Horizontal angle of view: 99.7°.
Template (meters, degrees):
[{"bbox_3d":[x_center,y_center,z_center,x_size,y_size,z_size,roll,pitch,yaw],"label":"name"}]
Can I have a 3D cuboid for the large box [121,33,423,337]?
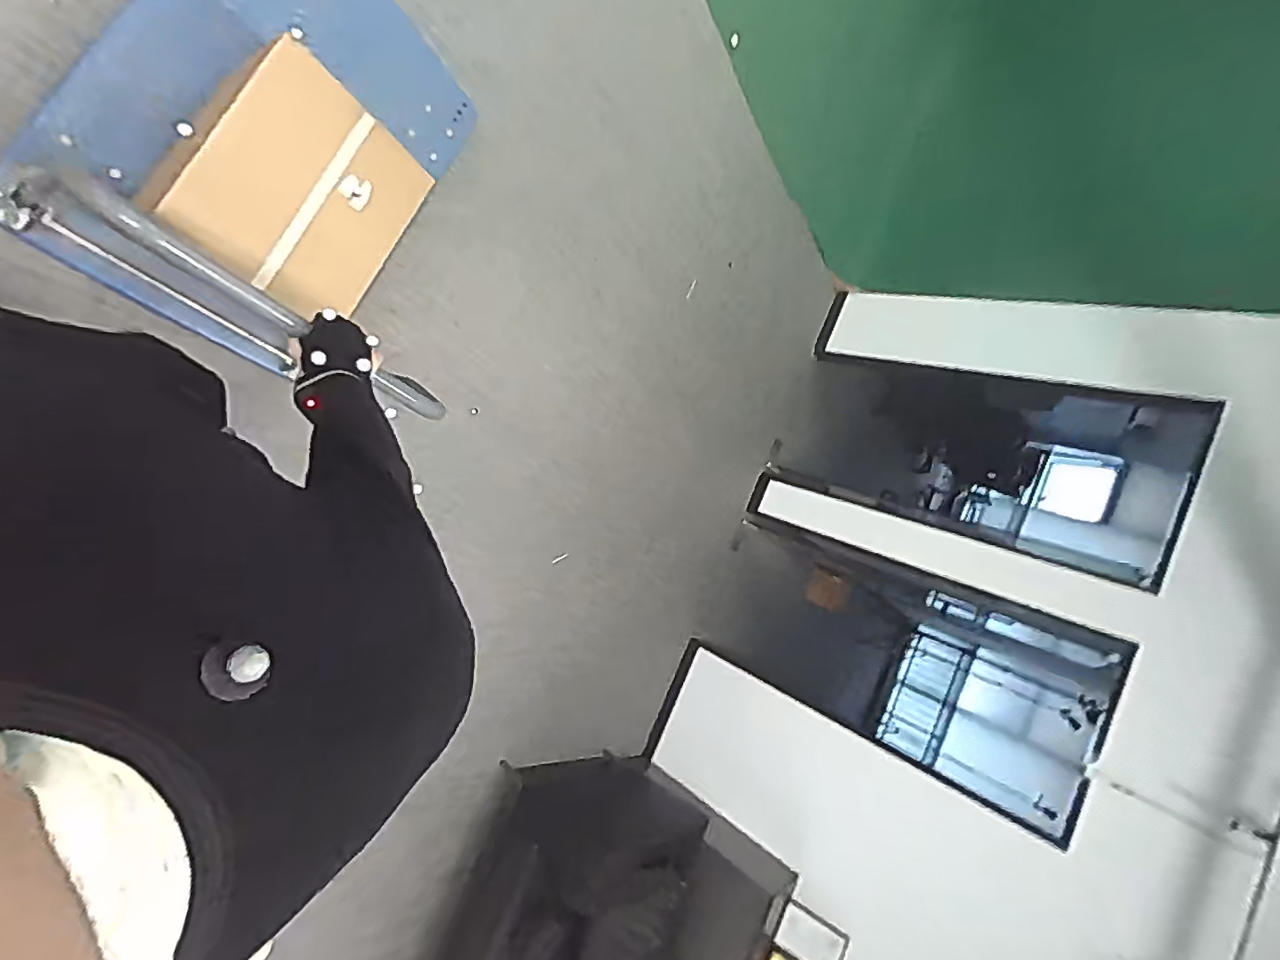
[{"bbox_3d":[-0.723,-0.550,1.078,0.320,0.320,0.408,37,76,-51],"label":"large box"}]
